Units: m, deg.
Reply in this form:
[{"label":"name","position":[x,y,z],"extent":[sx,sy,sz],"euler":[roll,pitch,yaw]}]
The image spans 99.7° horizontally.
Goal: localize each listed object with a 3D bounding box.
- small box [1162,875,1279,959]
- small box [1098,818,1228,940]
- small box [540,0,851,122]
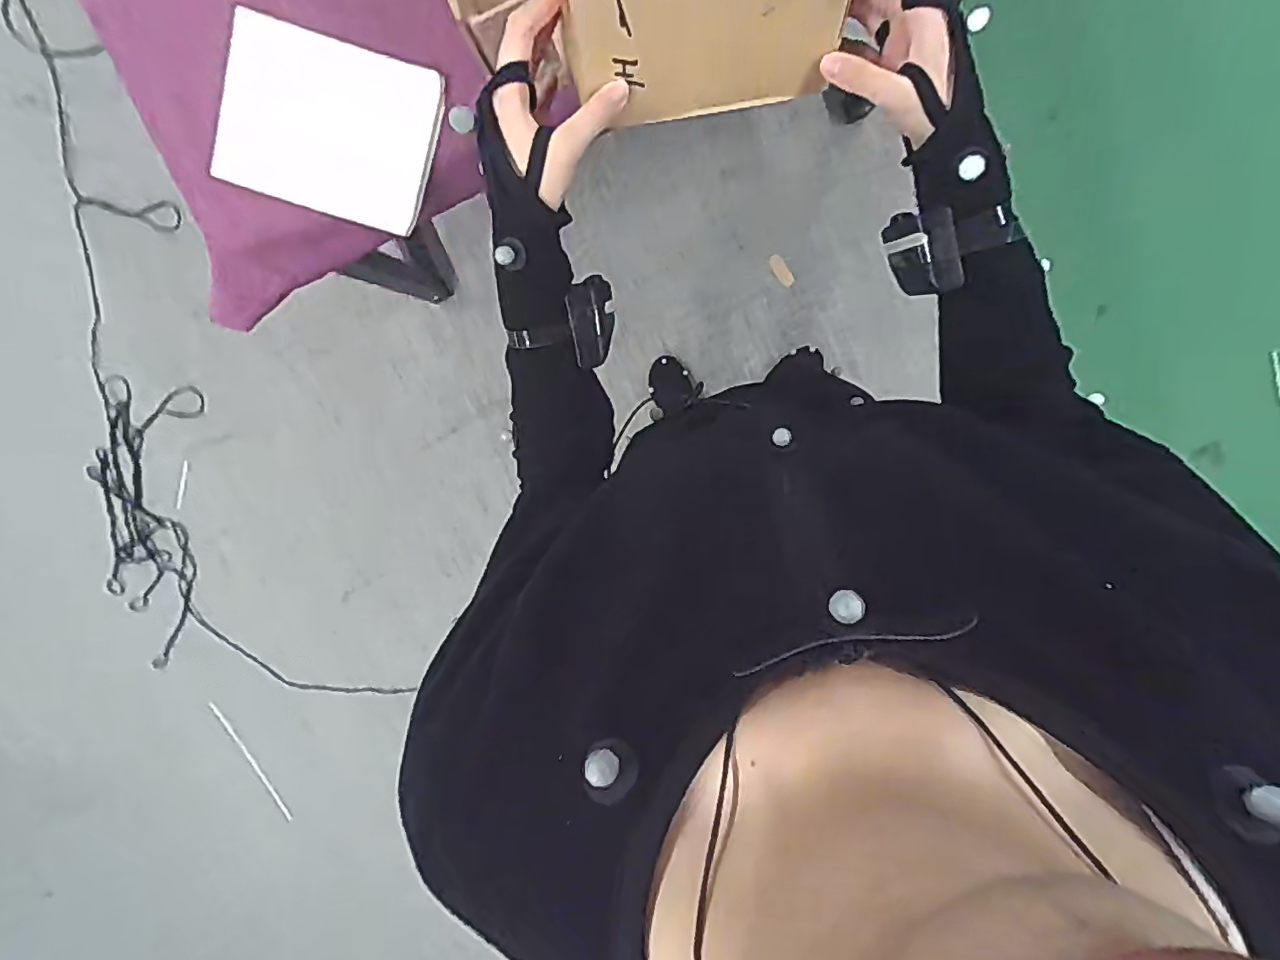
[{"label":"small box","position":[1.217,0.957,1.083],"extent":[0.179,0.176,0.168],"euler":[-38,97,8]},{"label":"small box","position":[1.223,0.923,1.244],"extent":[0.168,0.176,0.179],"euler":[-36,97,8]},{"label":"small box","position":[0.027,-0.362,0.335],"extent":[0.179,0.168,0.176],"euler":[-13,61,-8]}]
